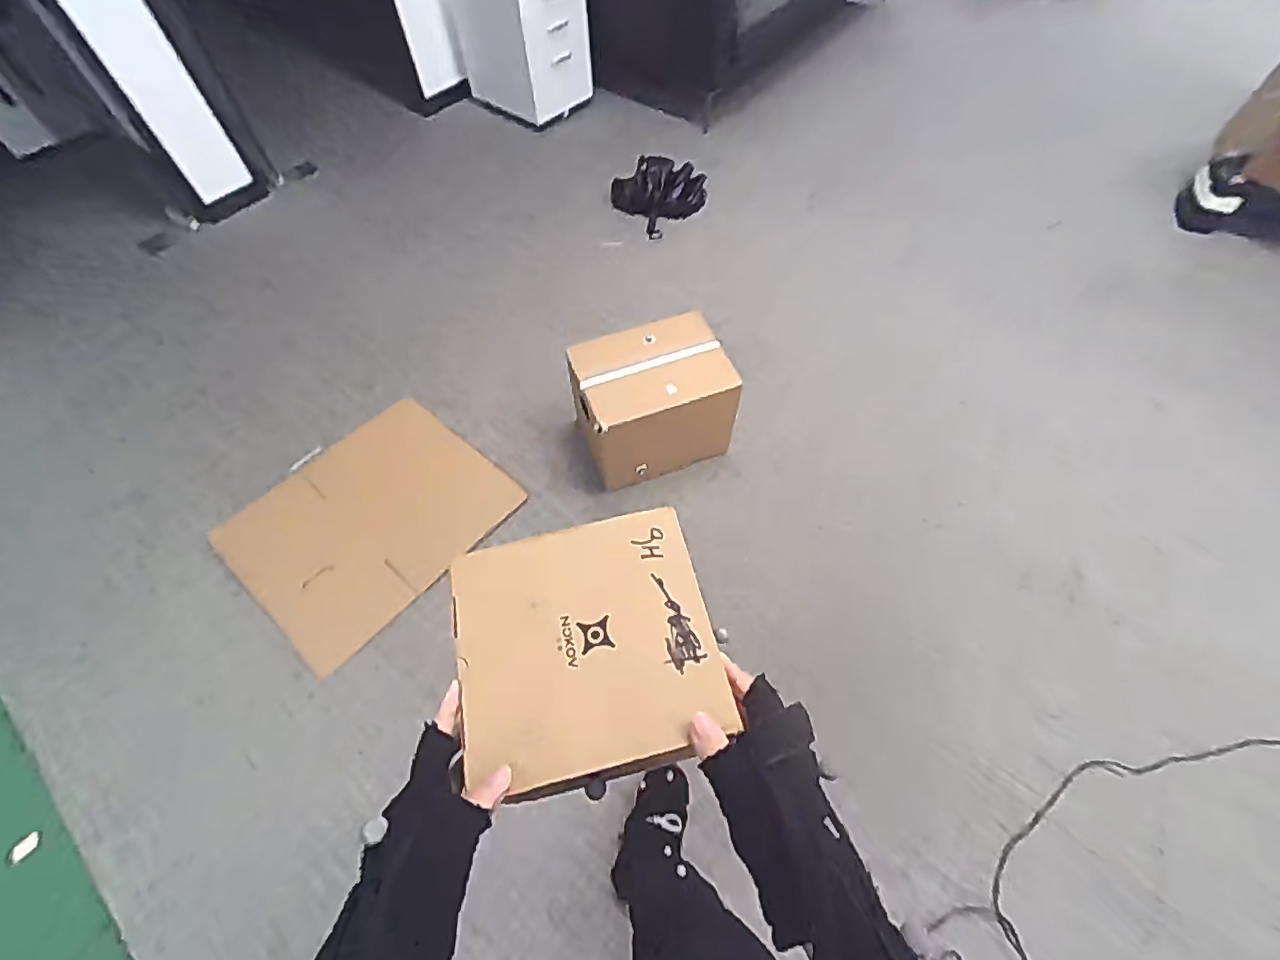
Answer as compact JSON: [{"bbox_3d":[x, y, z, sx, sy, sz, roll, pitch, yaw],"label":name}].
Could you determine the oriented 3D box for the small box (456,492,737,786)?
[{"bbox_3d":[-0.035,0.139,0.451,0.179,0.176,0.168,-15,58,-7],"label":"small box"}]
